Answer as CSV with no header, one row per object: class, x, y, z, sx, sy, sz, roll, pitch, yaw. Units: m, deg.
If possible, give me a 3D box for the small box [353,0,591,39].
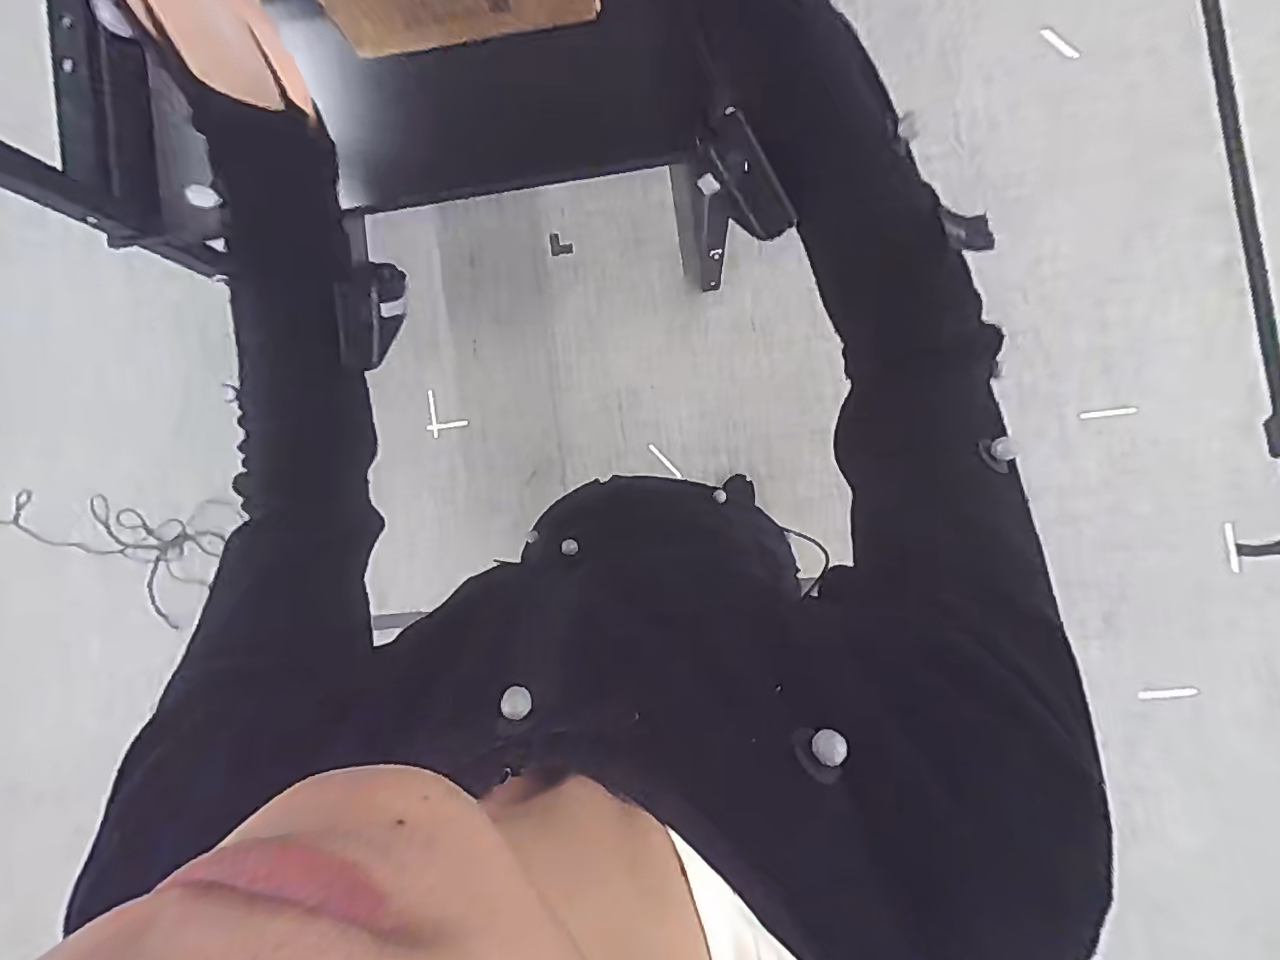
small box,-0.118,-0.387,0.279,0.168,0.176,0.179,-8,92,2
